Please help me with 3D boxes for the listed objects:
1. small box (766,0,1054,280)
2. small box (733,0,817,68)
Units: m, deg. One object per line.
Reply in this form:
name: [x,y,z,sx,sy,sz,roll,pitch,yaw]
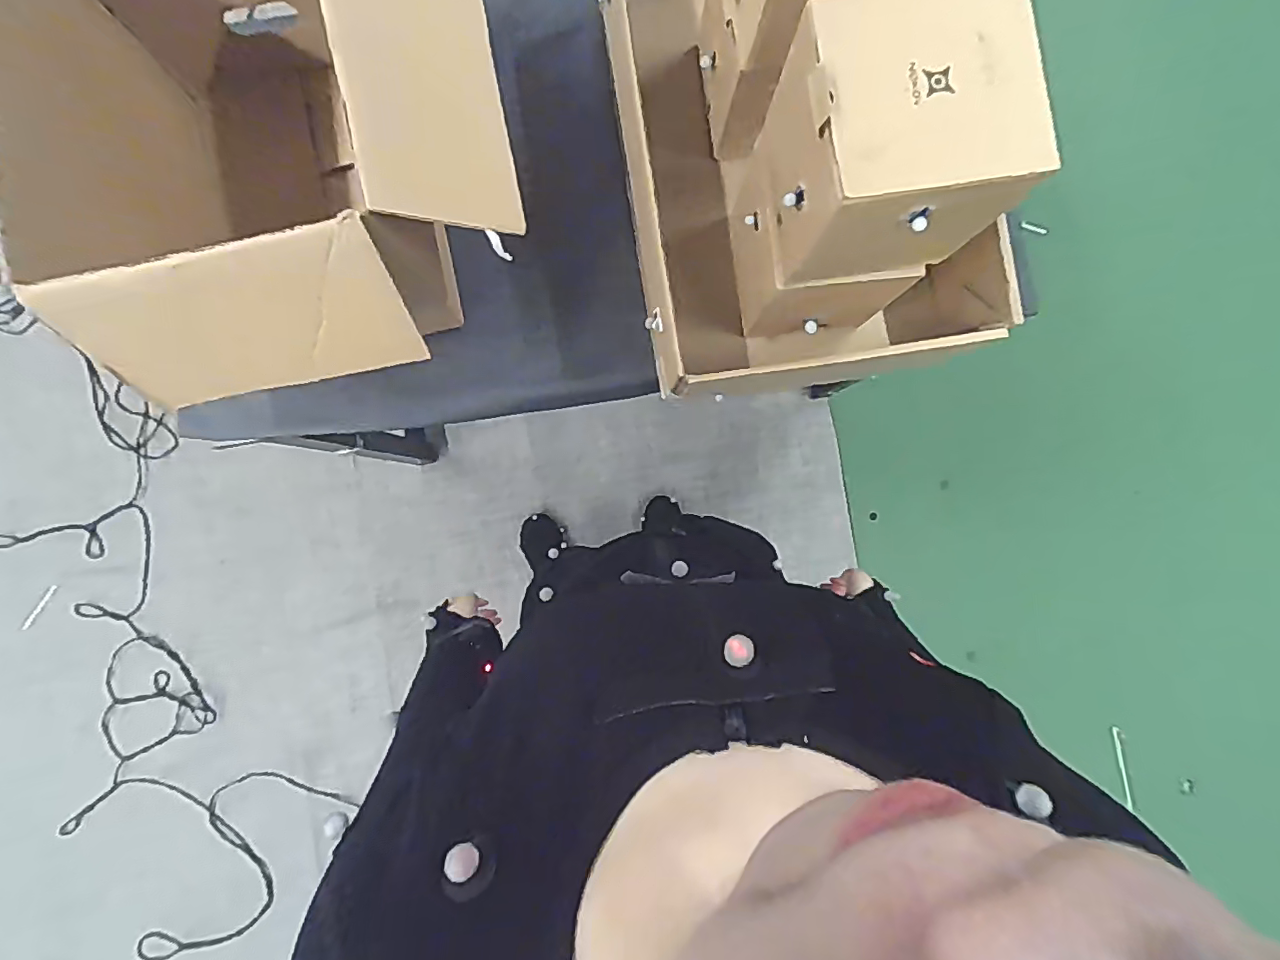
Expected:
small box: [0.225,-0.304,0.502,0.179,0.176,0.168,-9,89,-2]
small box: [0.181,-0.533,0.510,0.179,0.176,0.168,-10,90,-2]
